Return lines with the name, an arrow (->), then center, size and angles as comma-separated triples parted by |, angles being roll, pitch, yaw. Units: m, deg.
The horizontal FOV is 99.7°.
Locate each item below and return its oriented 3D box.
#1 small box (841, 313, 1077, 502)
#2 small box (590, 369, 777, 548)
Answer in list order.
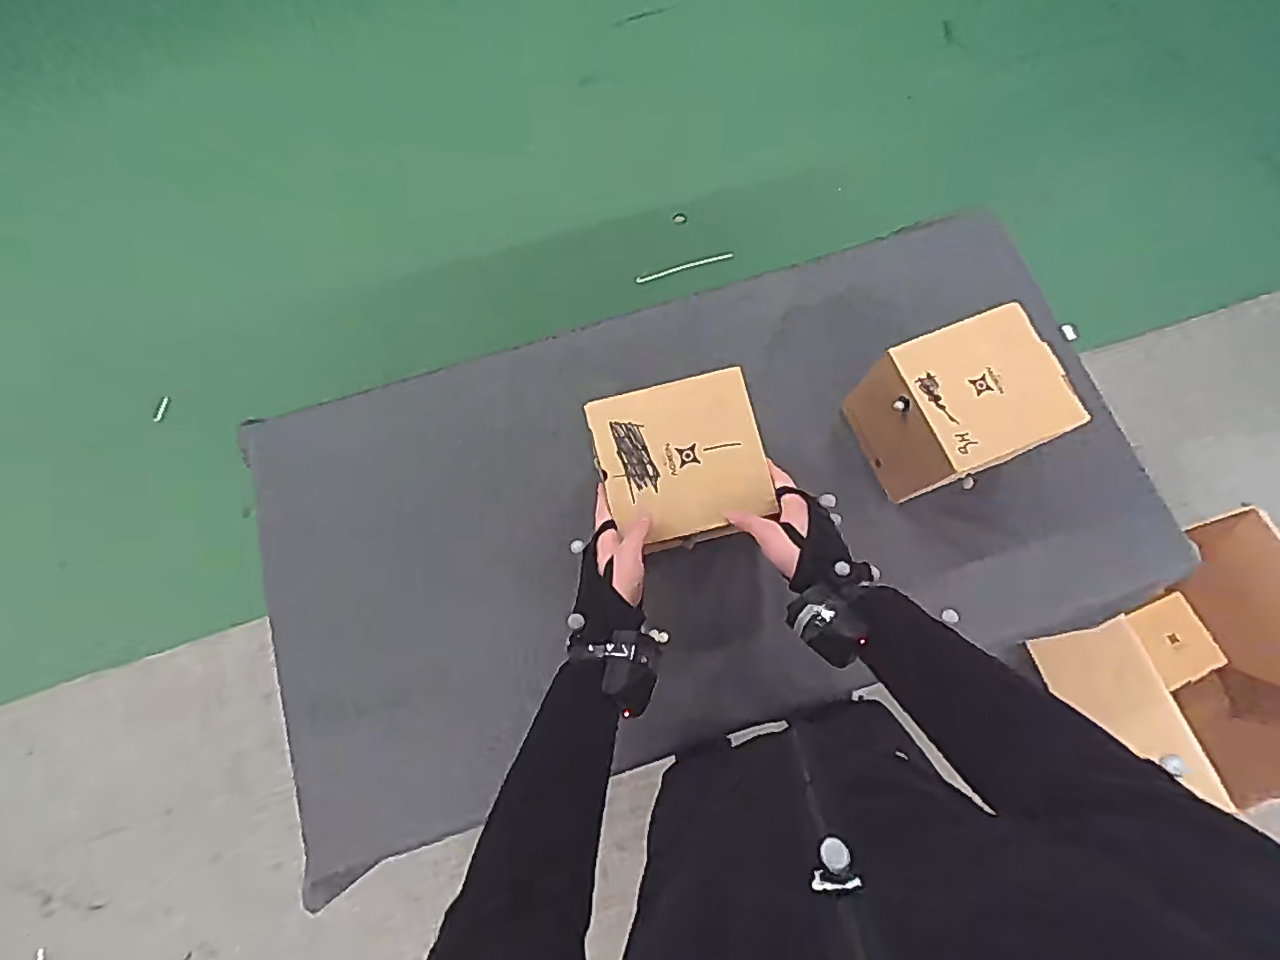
small box -> 0.404, -0.085, 0.719 | 0.179, 0.176, 0.168 | -23, 78, -4
small box -> 0.049, -0.013, 0.643 | 0.179, 0.176, 0.168 | -10, 82, 3
